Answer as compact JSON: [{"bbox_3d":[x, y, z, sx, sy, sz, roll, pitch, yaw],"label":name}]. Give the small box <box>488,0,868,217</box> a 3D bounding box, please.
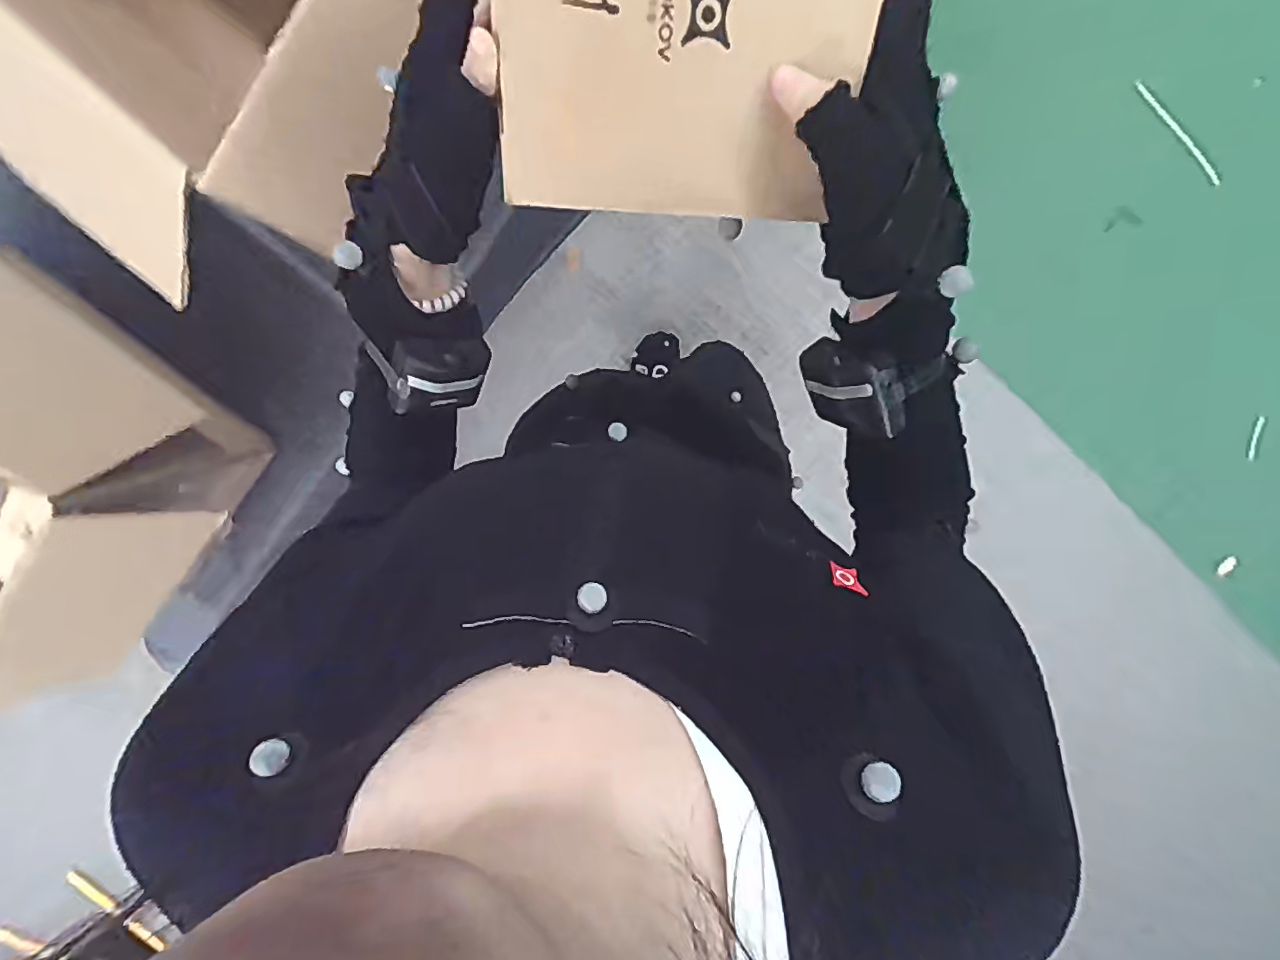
[{"bbox_3d":[0.011,-0.259,0.310,0.179,0.176,0.168,0,124,-6],"label":"small box"}]
